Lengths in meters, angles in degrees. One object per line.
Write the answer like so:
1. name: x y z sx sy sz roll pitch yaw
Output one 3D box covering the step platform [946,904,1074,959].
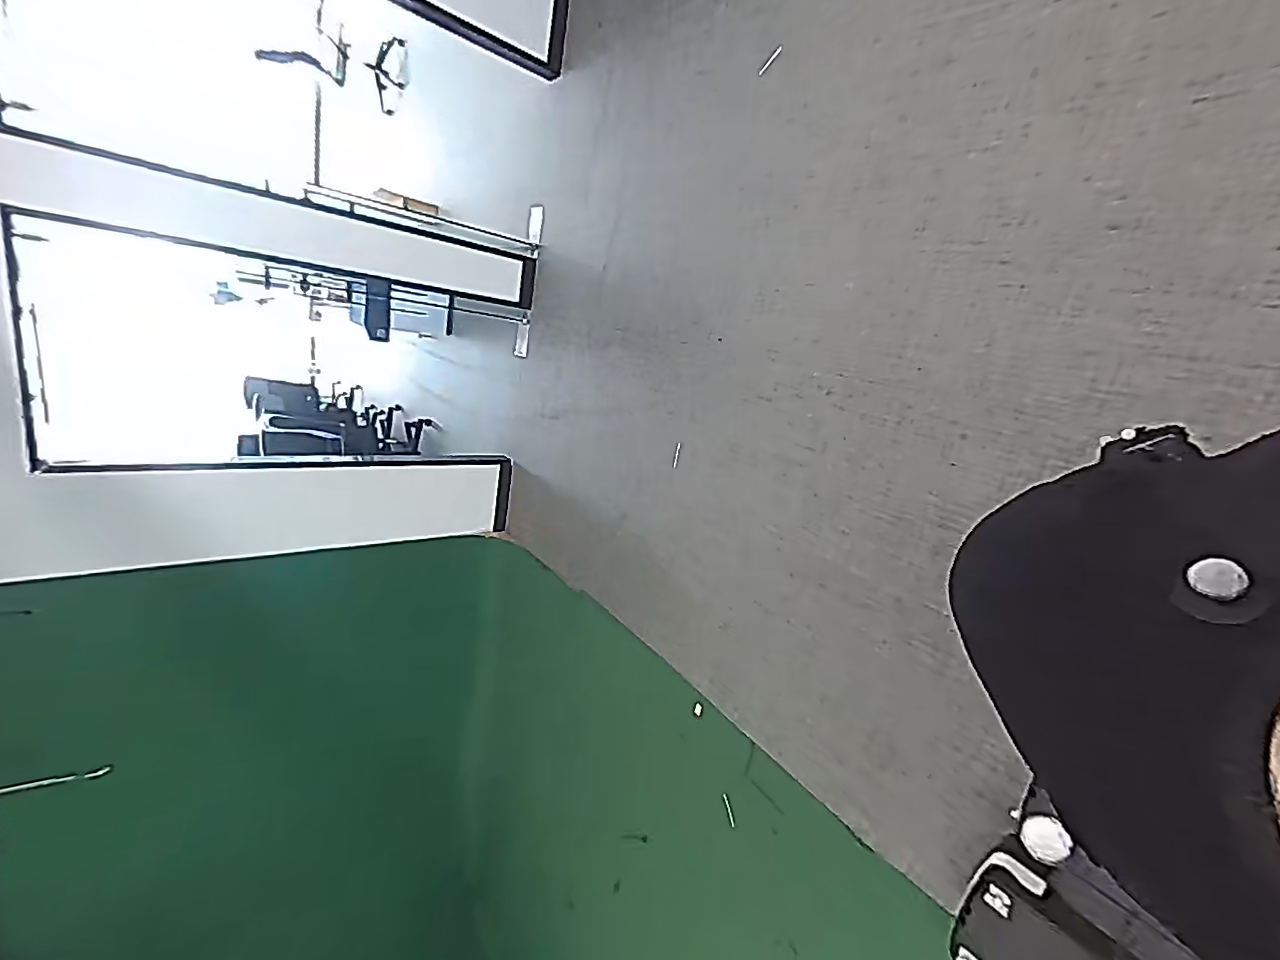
1. step platform: 0.890 1.145 0.936 0.684 0.204 0.286 27 112 46
